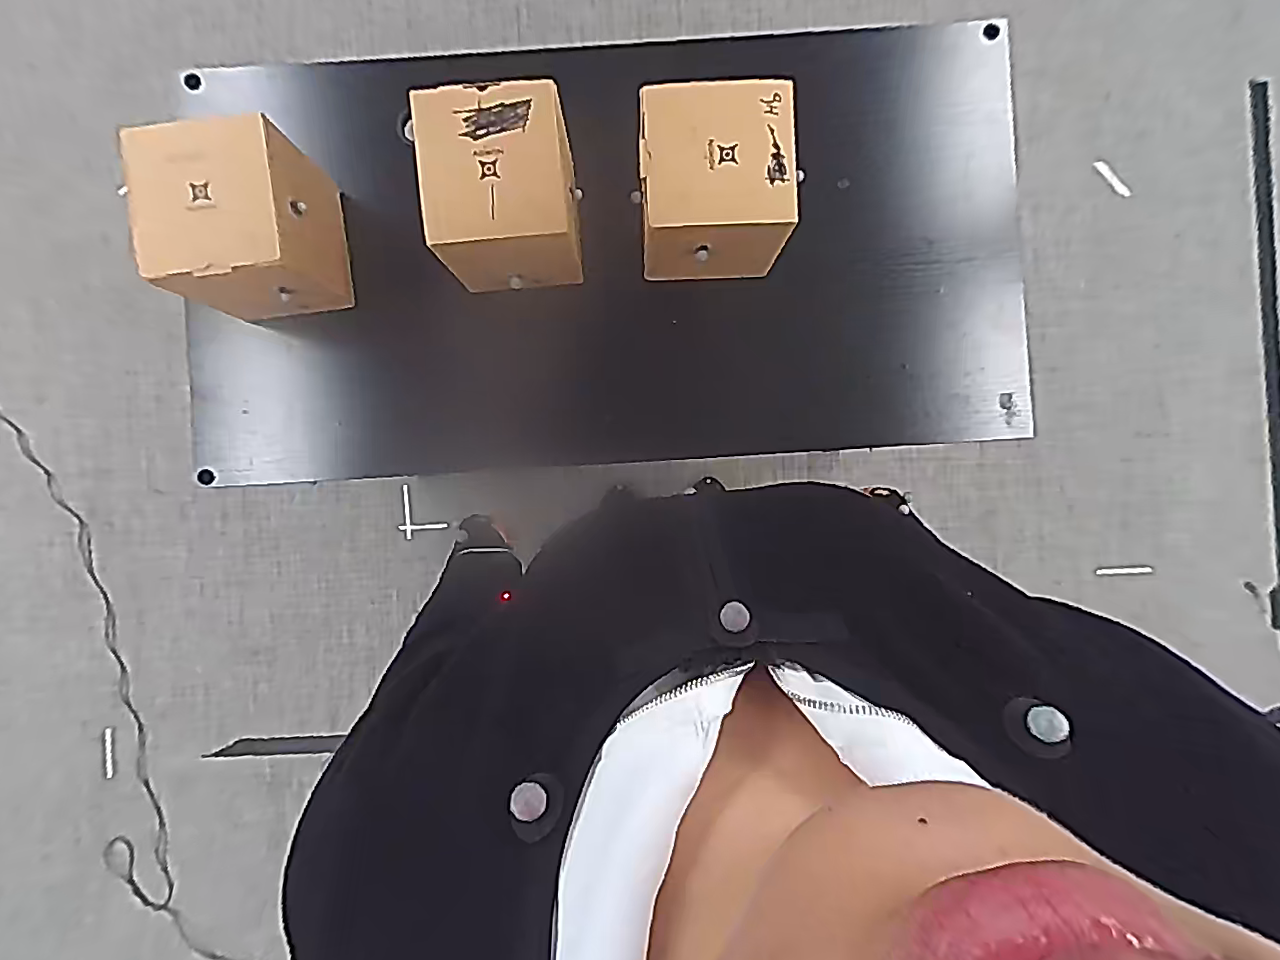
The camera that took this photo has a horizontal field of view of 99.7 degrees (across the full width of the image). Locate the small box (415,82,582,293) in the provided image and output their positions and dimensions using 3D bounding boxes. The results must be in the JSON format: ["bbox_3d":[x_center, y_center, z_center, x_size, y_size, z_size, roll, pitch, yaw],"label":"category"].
[{"bbox_3d":[-0.168,-0.358,0.689,0.168,0.176,0.179,-5,91,0],"label":"small box"}]

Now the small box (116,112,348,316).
[{"bbox_3d":[-0.499,-0.320,0.689,0.168,0.176,0.179,-8,90,-1],"label":"small box"}]

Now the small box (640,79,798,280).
[{"bbox_3d":[0.092,-0.367,0.690,0.179,0.176,0.168,-2,90,1],"label":"small box"}]
